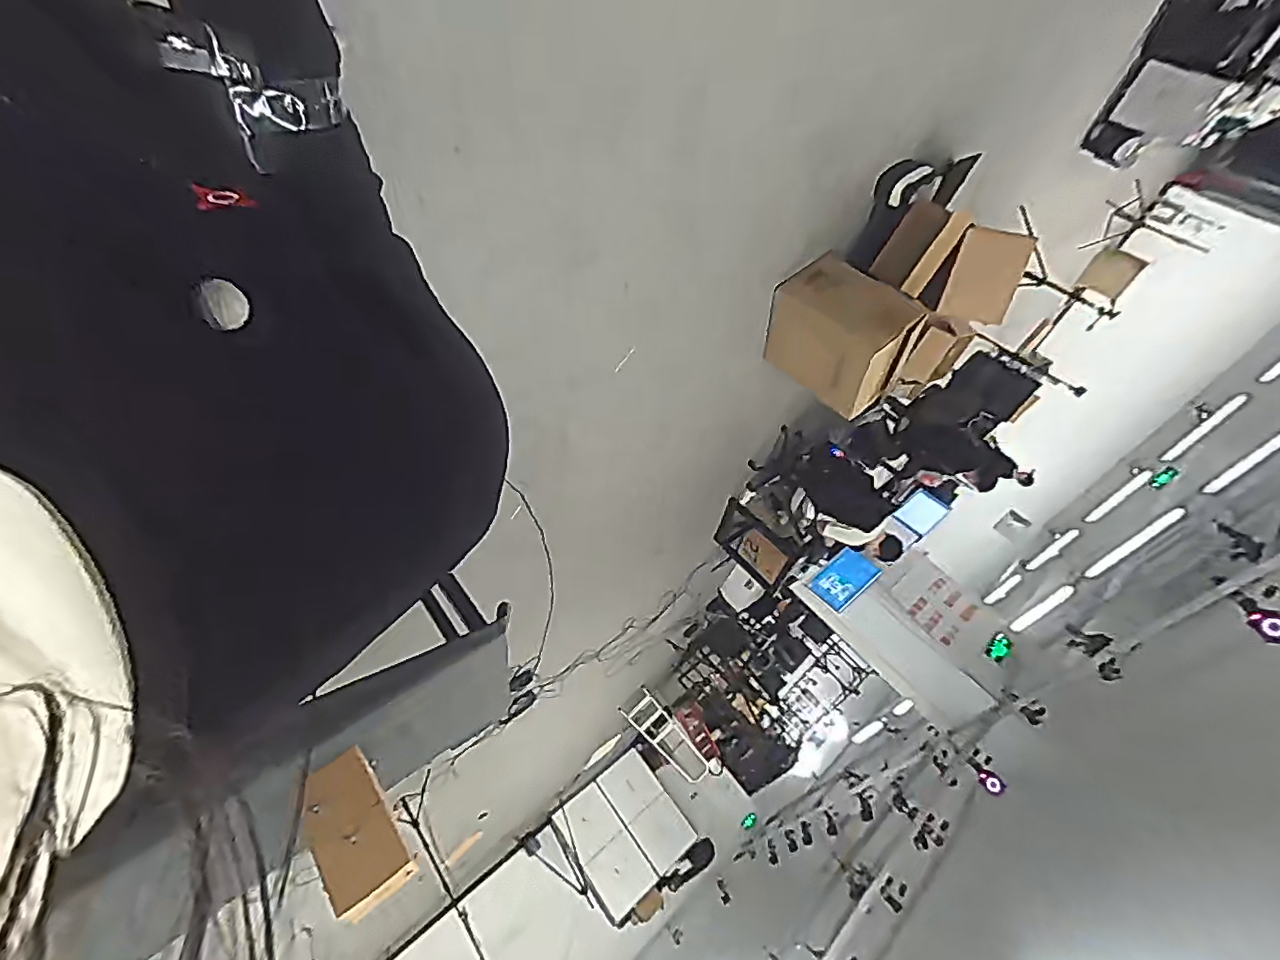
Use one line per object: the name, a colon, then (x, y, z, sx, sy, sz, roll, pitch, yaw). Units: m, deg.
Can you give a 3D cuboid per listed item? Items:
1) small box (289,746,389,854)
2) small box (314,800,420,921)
small box: (-0.786, 0.842, 1.416, 0.179, 0.176, 0.168, -30, 152, -31)
small box: (-0.682, 0.946, 1.349, 0.179, 0.176, 0.168, -30, 150, -30)
